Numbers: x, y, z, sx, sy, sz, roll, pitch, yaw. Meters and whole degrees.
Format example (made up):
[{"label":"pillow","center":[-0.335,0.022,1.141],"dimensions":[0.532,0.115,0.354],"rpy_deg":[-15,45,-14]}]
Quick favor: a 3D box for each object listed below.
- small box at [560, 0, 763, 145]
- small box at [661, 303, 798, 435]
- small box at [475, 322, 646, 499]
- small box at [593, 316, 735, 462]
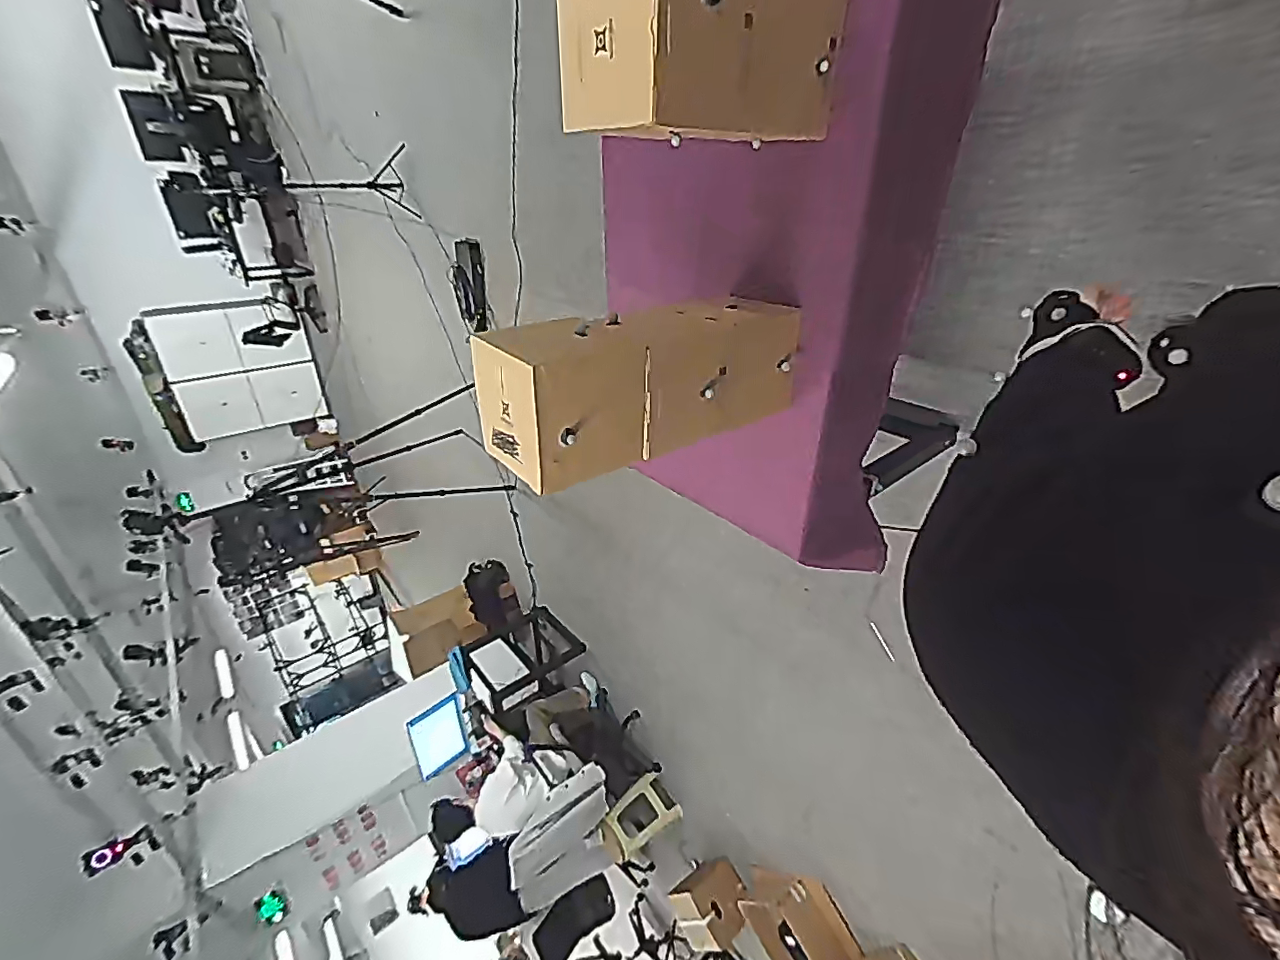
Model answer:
[{"label":"small box","center":[0.025,-0.502,0.644],"dimensions":[0.179,0.176,0.168],"rpy_deg":[30,130,41]},{"label":"small box","center":[0.150,-0.200,0.930],"dimensions":[0.168,0.176,0.179],"rpy_deg":[29,129,43]},{"label":"small box","center":[-0.105,-0.105,0.744],"dimensions":[0.168,0.176,0.179],"rpy_deg":[32,131,41]},{"label":"small box","center":[0.021,-0.152,0.839],"dimensions":[0.179,0.176,0.168],"rpy_deg":[30,131,41]}]
